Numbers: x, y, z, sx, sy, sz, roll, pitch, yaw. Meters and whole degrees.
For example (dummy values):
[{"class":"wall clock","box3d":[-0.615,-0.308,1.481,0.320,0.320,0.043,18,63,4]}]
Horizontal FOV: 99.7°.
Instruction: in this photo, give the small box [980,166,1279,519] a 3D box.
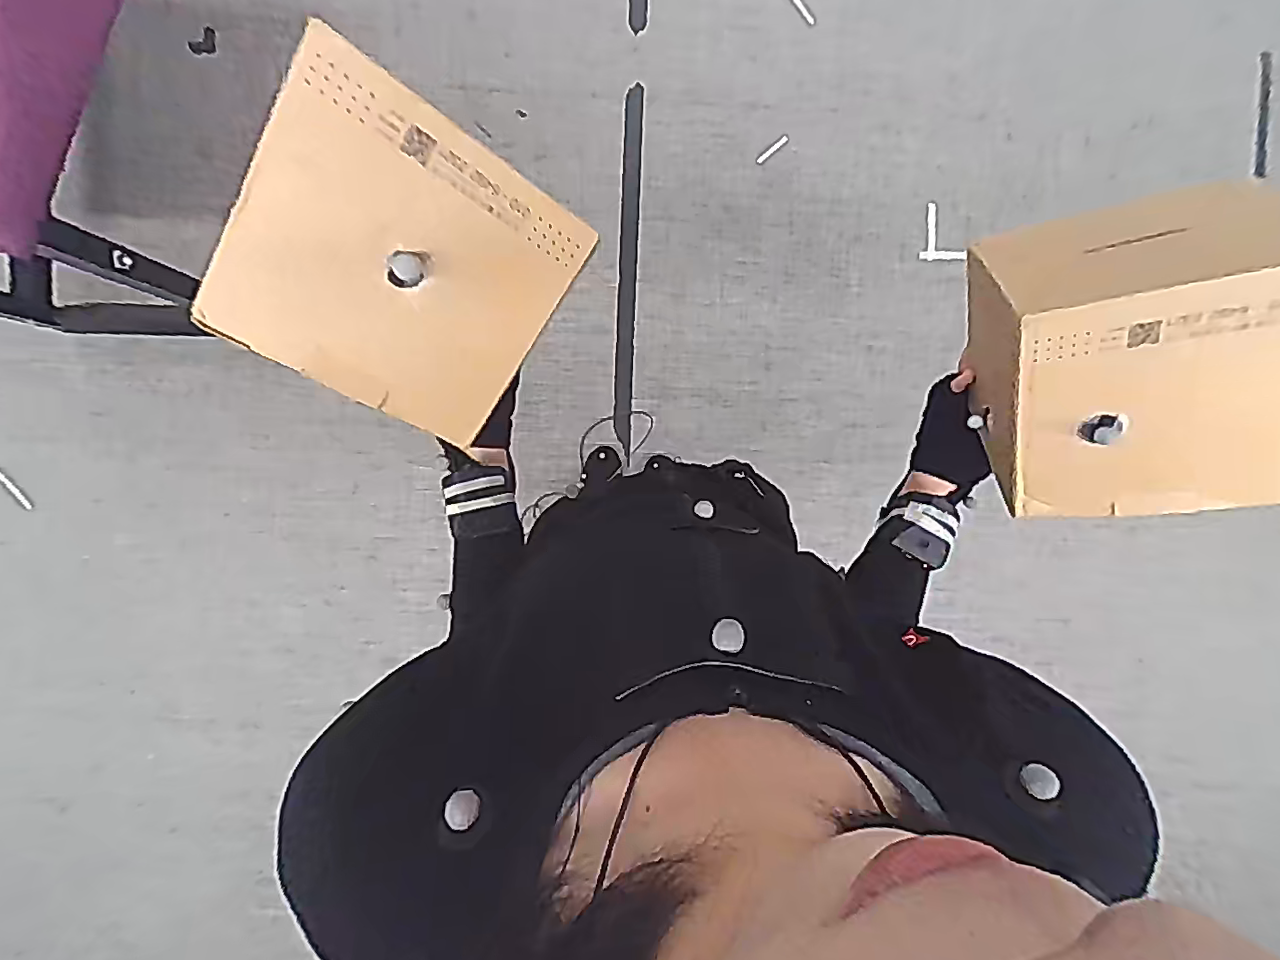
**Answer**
[{"class":"small box","box3d":[0.351,-0.095,0.382,0.168,0.179,0.176,-6,125,24]}]

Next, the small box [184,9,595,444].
[{"class":"small box","box3d":[-0.147,-0.158,0.363,0.168,0.179,0.176,29,108,-26]}]
